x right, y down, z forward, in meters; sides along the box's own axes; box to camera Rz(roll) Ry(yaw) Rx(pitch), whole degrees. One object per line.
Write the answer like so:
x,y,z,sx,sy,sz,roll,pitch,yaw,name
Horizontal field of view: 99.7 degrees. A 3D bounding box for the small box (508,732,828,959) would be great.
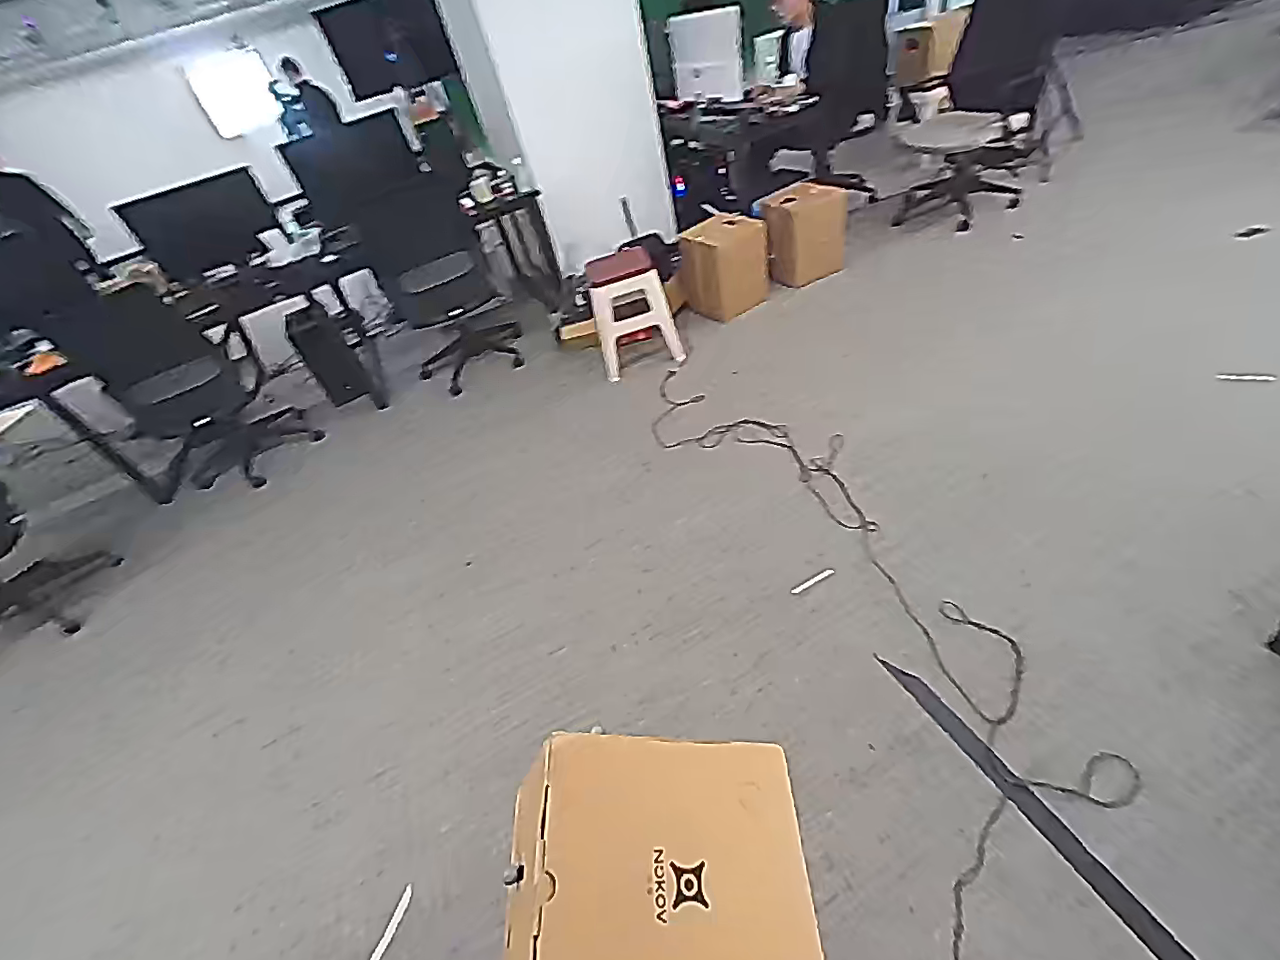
0.007,0.295,0.389,0.179,0.176,0.168,9,49,-13,small box
